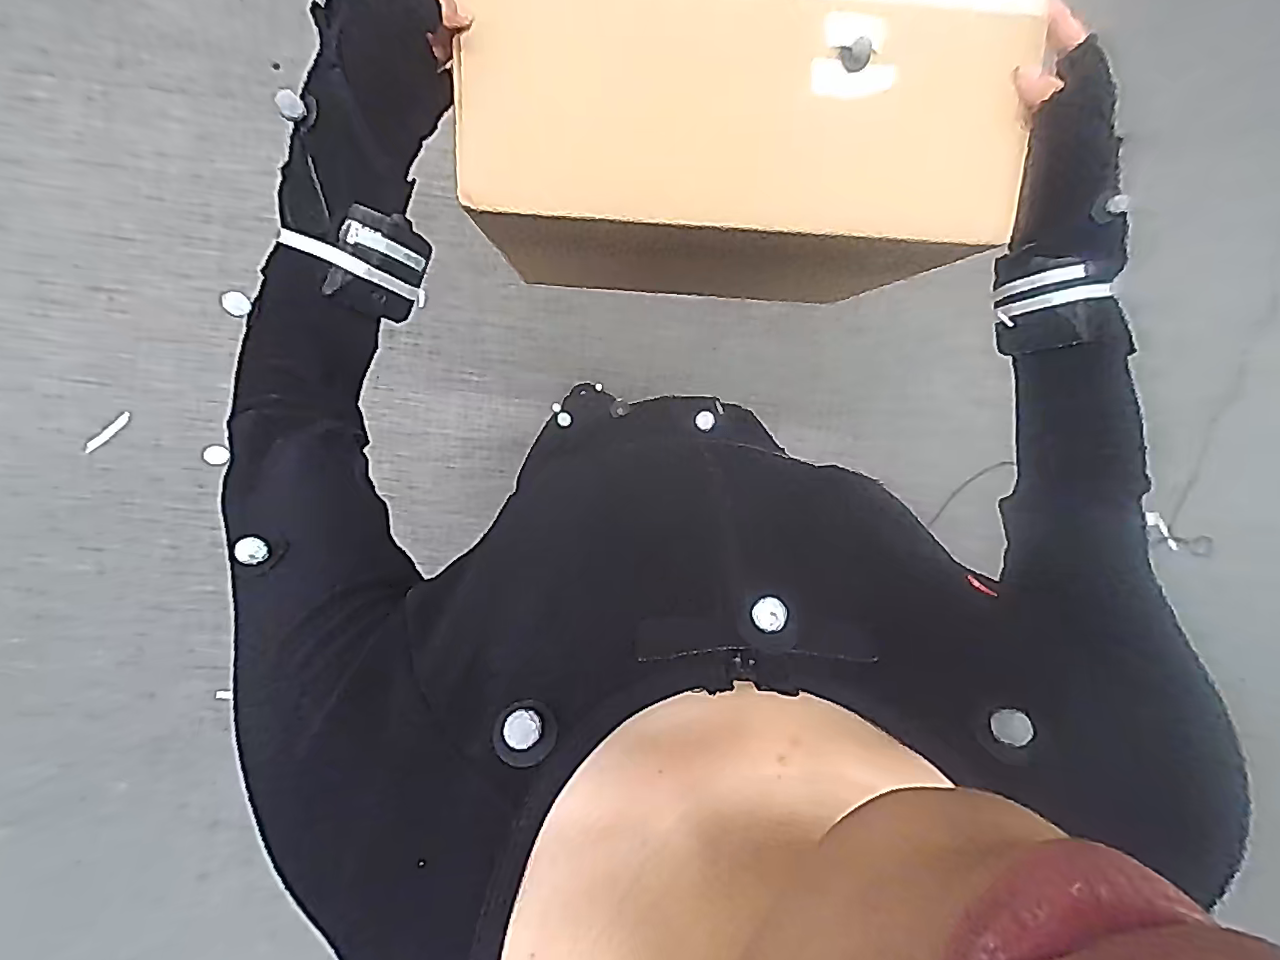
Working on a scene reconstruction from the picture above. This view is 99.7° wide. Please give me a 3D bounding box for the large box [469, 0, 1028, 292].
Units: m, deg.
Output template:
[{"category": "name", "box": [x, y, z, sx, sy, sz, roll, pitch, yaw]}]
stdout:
[{"category": "large box", "box": [0.069, -0.371, 0.521, 0.408, 0.320, 0.320, 1, 101, -5]}]
